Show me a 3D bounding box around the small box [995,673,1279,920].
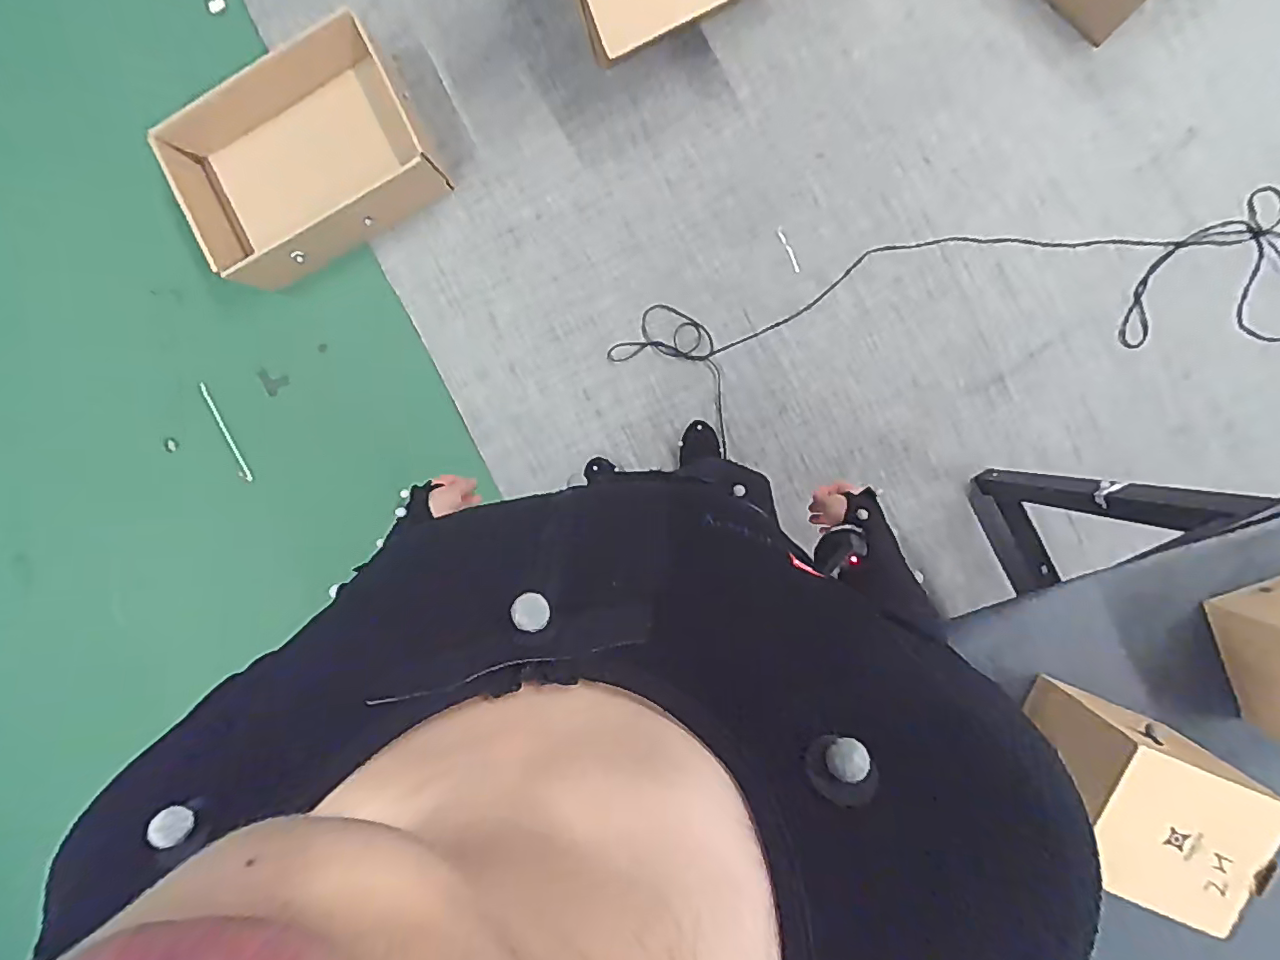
[{"bbox_3d":[0.582,0.361,0.655,0.179,0.176,0.168,22,97,2],"label":"small box"}]
